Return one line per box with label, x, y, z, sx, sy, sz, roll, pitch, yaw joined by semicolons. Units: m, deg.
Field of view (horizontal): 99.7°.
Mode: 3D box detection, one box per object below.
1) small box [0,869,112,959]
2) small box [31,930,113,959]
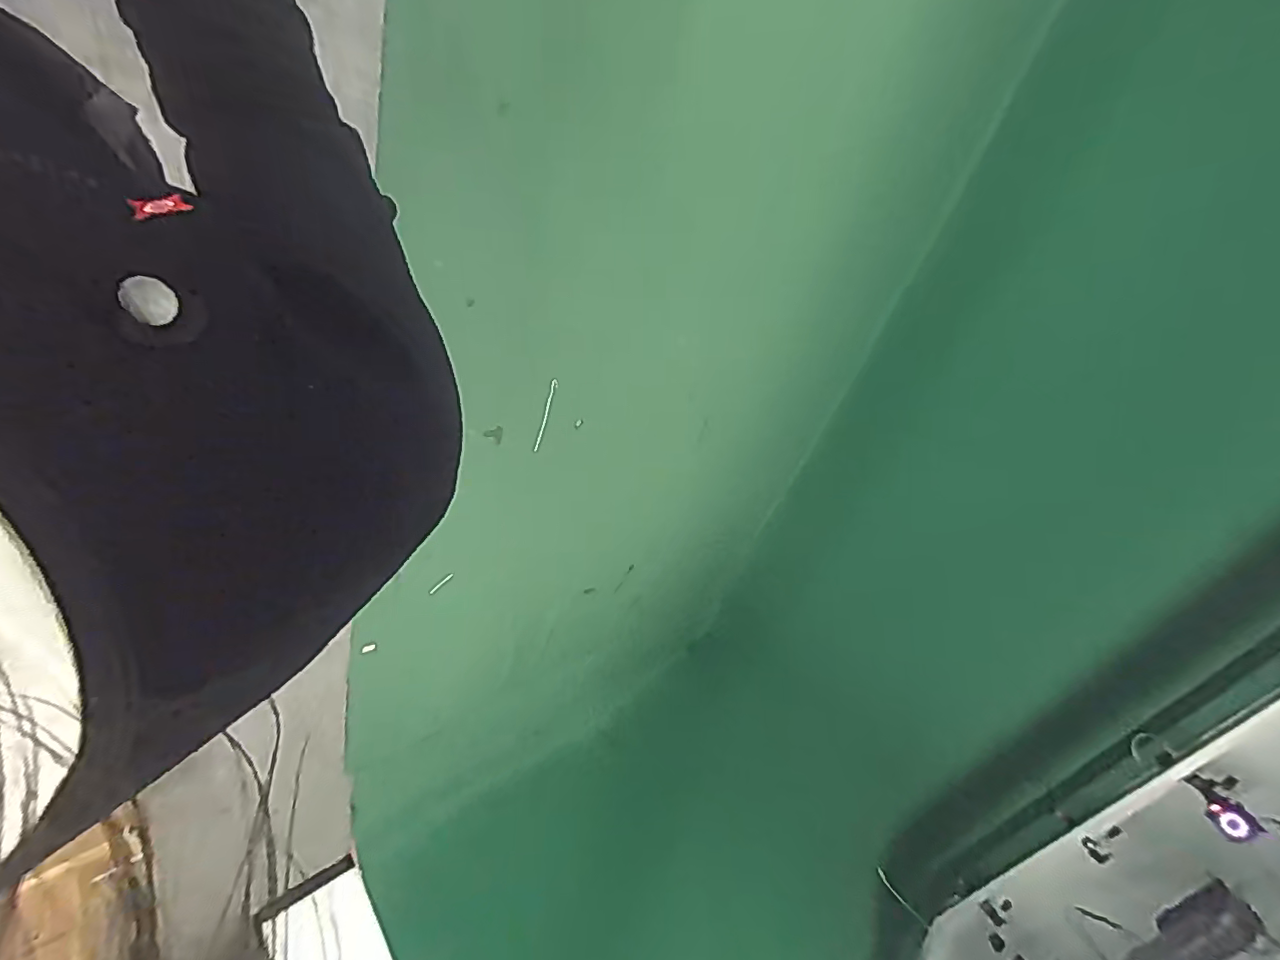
small box;-1.529;1.172;1.410;0.179;0.176;0.168;-18;136;-39
small box;-1.422;1.261;1.324;0.168;0.176;0.179;-19;137;-39
